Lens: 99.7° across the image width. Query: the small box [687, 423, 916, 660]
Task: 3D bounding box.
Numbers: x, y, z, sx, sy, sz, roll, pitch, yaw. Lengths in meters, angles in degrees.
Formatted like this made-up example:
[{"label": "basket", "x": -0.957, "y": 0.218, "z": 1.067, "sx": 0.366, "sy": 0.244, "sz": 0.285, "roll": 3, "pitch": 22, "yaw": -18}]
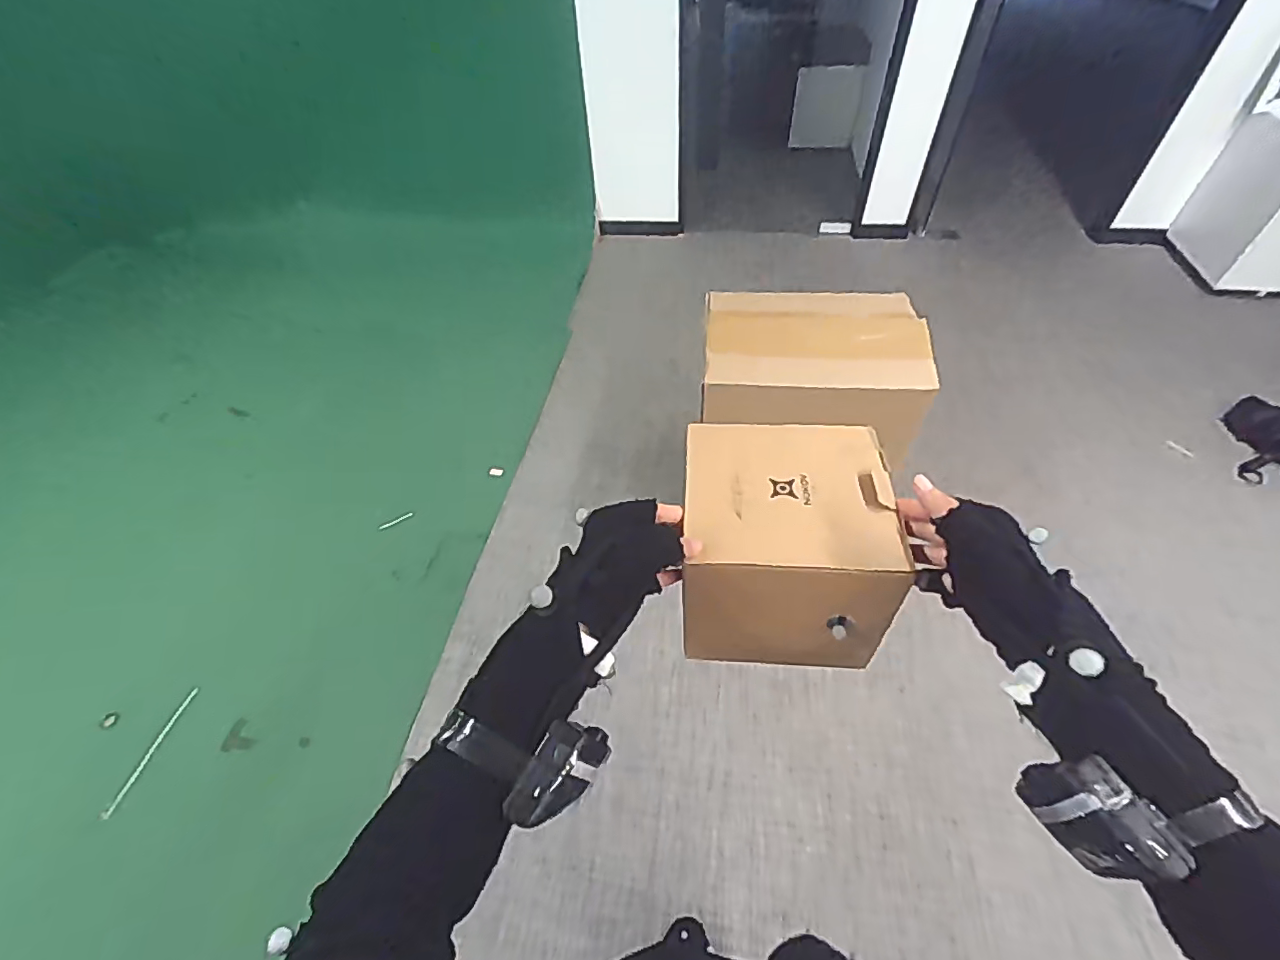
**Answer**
[{"label": "small box", "x": 0.136, "y": 0.061, "z": 0.527, "sx": 0.179, "sy": 0.176, "sz": 0.168, "roll": 0, "pitch": 45, "yaw": 6}]
